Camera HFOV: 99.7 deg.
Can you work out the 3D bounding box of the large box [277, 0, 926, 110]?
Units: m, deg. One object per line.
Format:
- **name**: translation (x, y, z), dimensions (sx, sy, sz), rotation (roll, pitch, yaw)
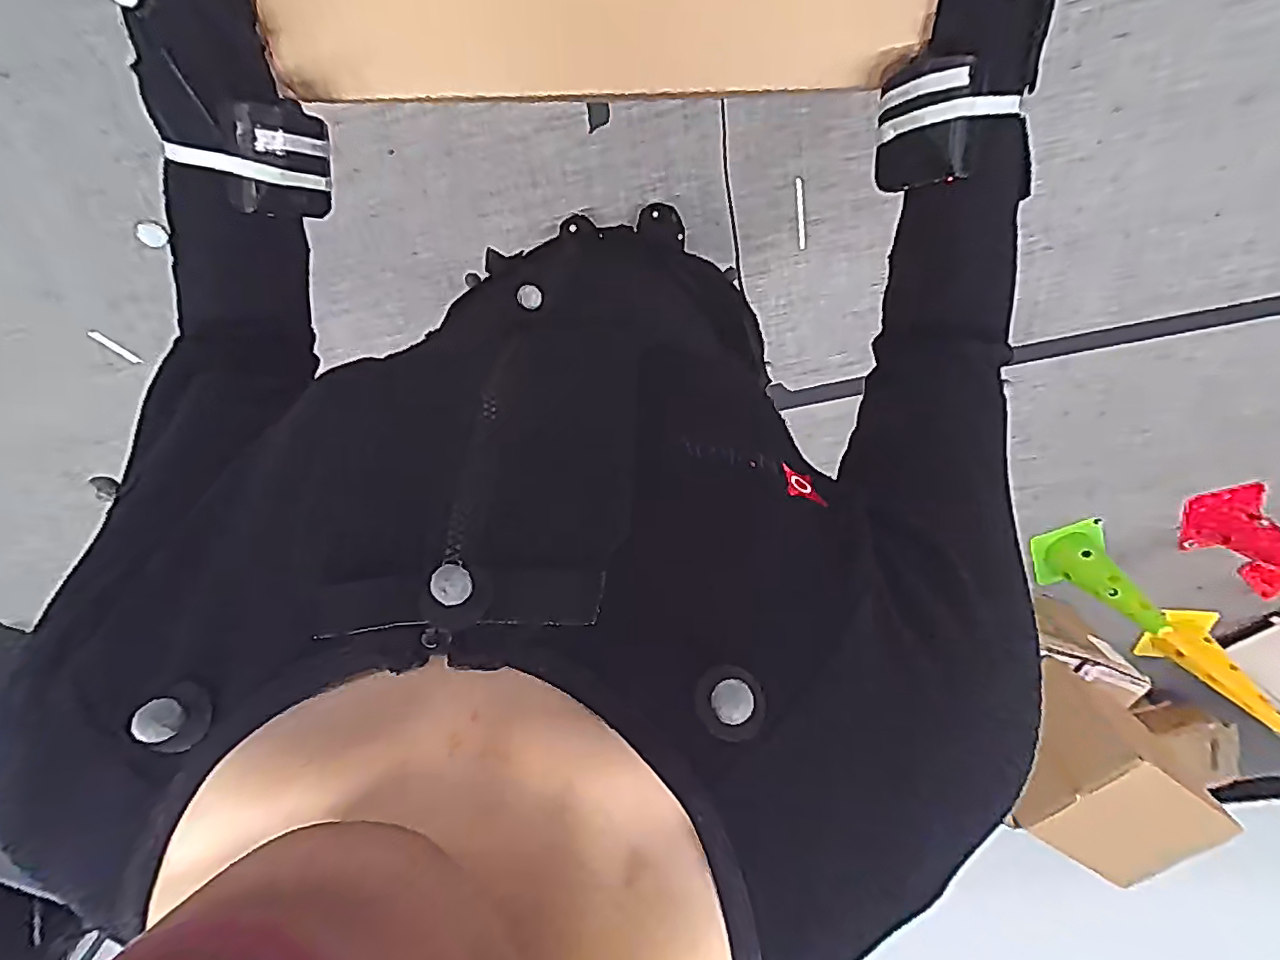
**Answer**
- **large box**: translation (-0.029, -0.467, 0.393), dimensions (0.408, 0.320, 0.320), rotation (-1, 125, 1)
